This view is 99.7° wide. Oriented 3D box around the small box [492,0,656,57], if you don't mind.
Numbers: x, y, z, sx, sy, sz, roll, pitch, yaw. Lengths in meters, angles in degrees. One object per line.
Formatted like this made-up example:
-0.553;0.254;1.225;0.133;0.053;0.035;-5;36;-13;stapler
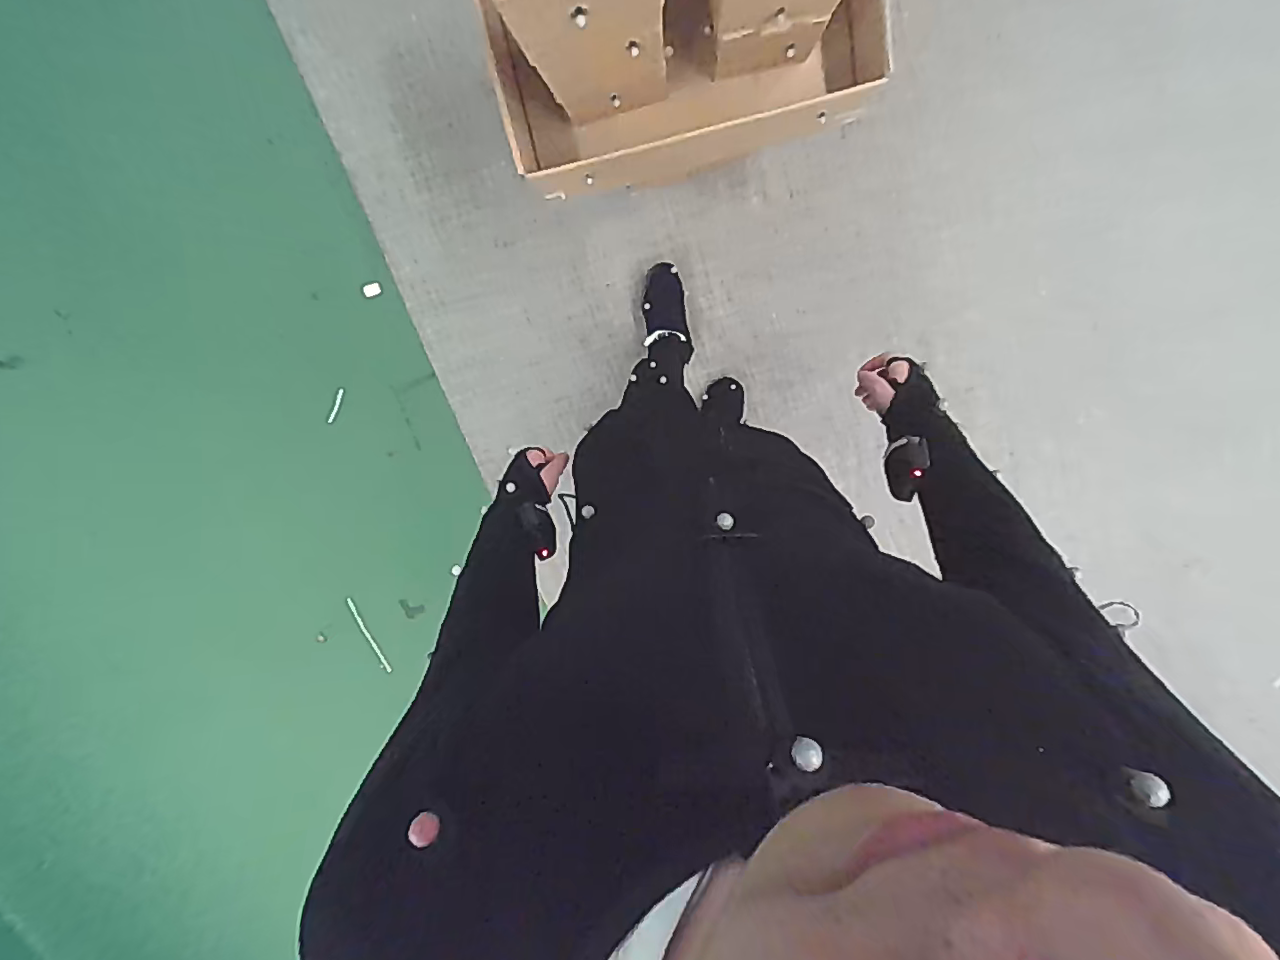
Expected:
-0.080;-0.608;0.589;0.179;0.176;0.168;-11;108;10;small box

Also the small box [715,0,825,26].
0.183;-0.730;0.693;0.179;0.176;0.168;-7;109;8;small box
